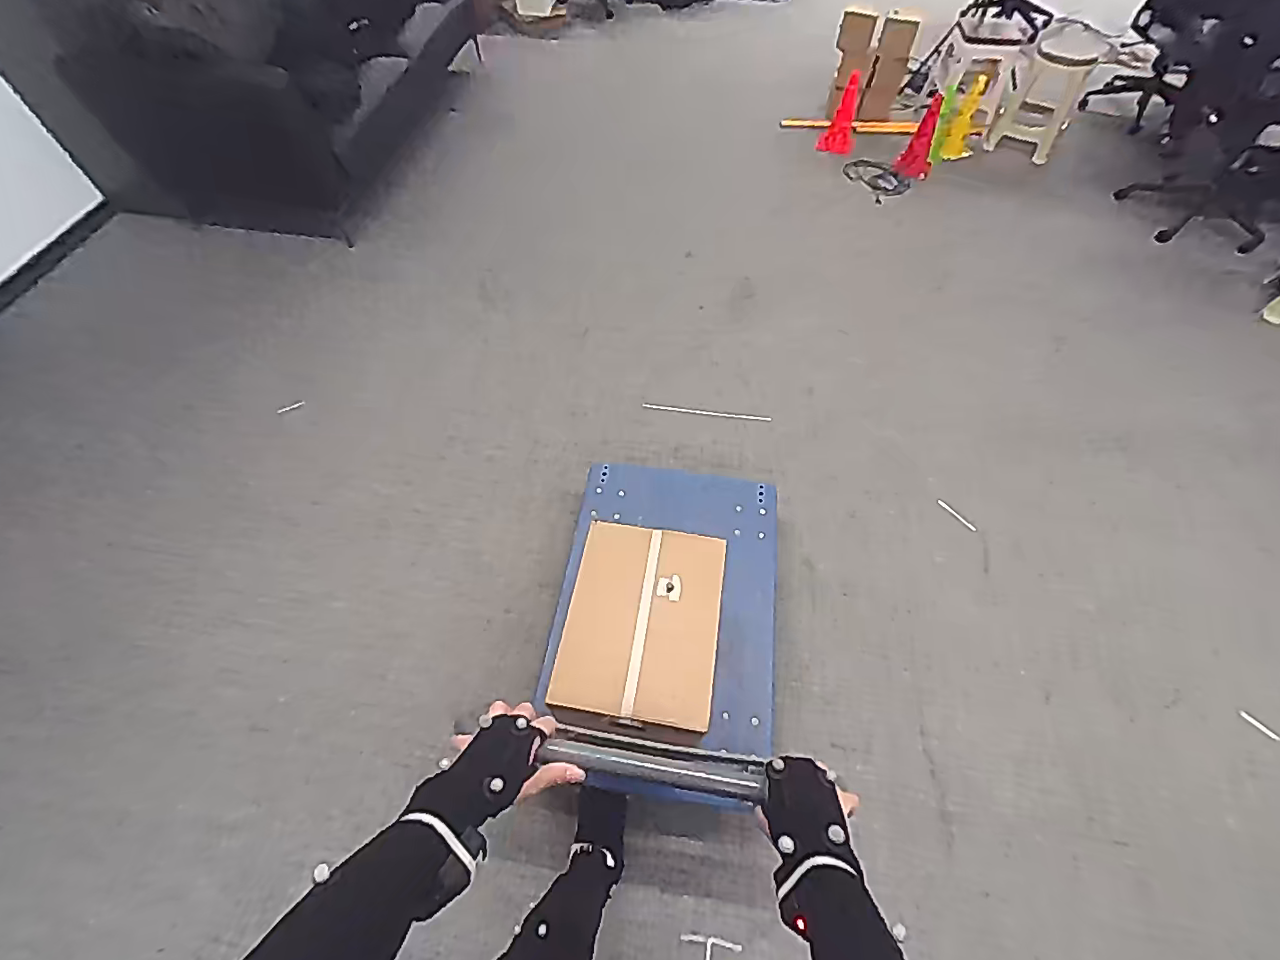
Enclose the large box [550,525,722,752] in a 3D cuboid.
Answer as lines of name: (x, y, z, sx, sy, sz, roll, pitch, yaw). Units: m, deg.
large box: (0.007, 0.367, 1.245, 0.320, 0.320, 0.408, 8, 56, 5)
